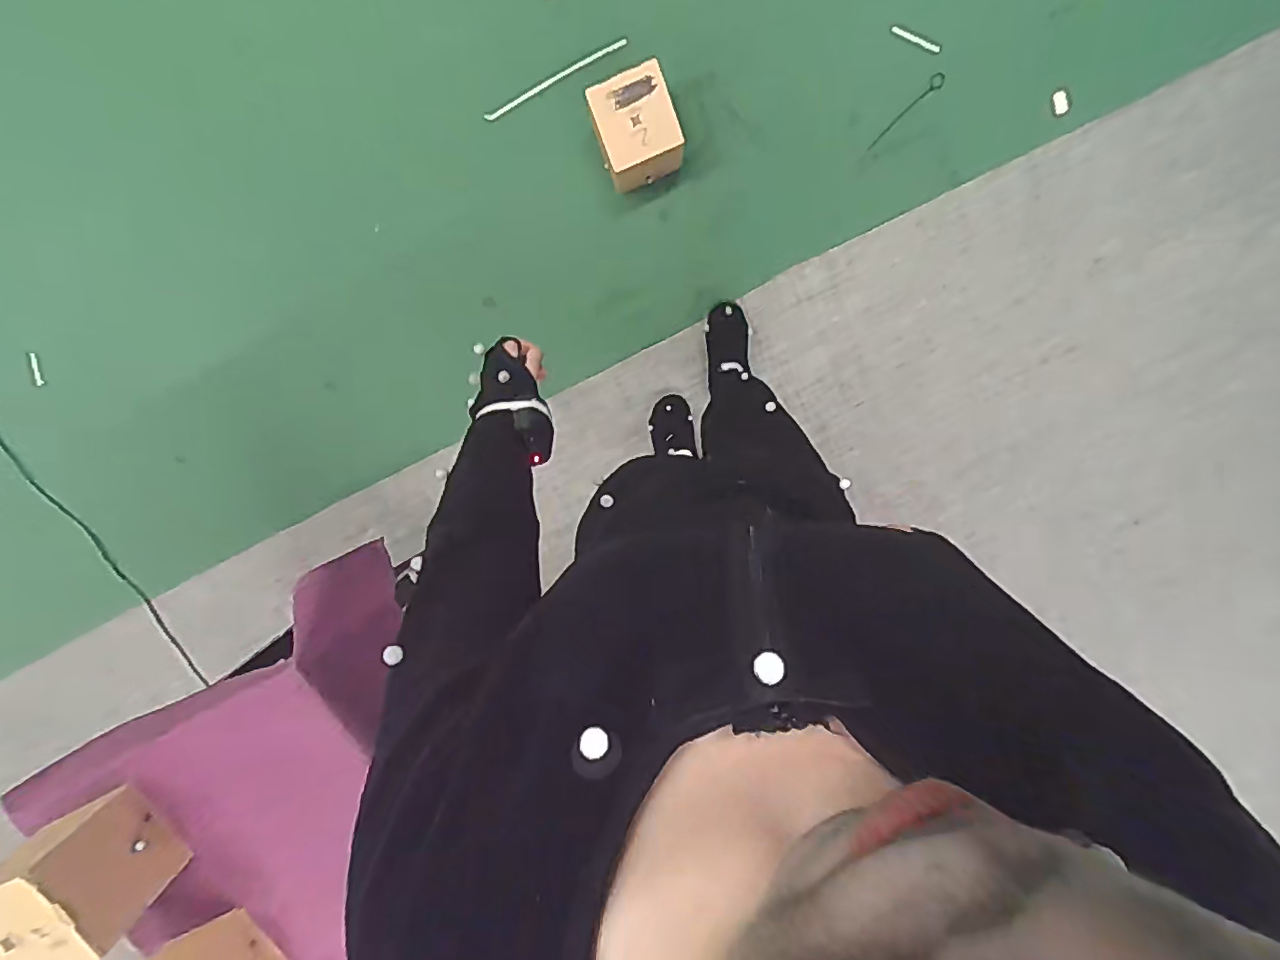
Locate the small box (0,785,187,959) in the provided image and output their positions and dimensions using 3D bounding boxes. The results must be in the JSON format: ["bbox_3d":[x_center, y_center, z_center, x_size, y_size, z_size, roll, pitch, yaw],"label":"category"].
[{"bbox_3d":[-0.862,0.614,0.820,0.179,0.176,0.168,-27,102,4],"label":"small box"}]

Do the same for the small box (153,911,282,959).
[{"bbox_3d":[-0.730,0.864,0.879,0.179,0.176,0.168,-29,101,6],"label":"small box"}]
